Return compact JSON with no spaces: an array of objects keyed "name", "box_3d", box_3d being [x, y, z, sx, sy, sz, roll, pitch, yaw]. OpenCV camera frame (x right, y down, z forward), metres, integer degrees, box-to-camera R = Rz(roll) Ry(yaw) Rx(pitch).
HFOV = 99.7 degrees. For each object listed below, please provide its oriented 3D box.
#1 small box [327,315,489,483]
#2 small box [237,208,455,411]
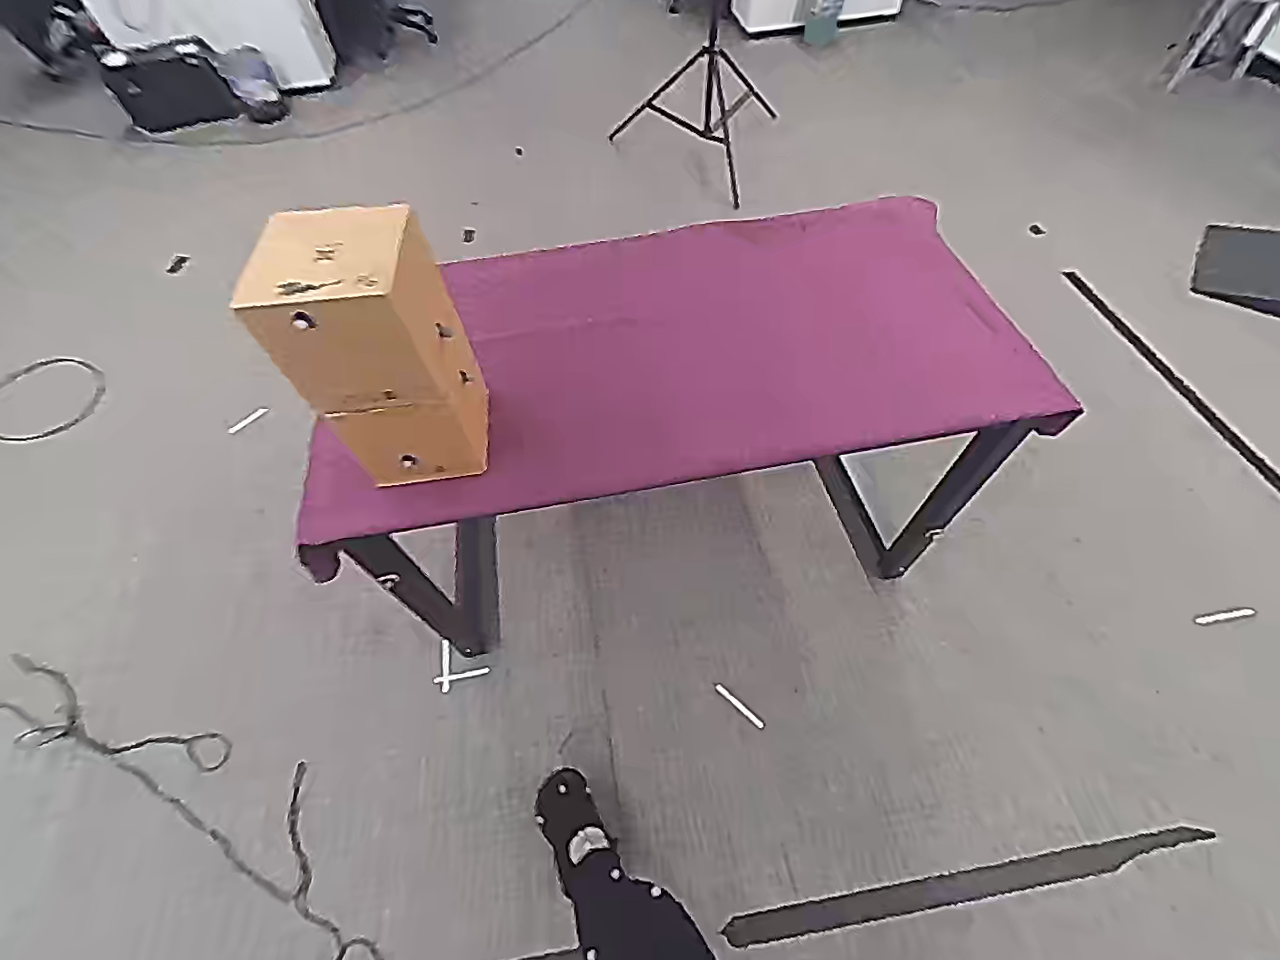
[{"name":"small box","box_3d":[-0.331,-0.119,0.811,0.168,0.176,0.179,-8,56,-2]},{"name":"small box","box_3d":[-0.342,-0.209,0.675,0.168,0.176,0.179,-6,56,-1]}]
